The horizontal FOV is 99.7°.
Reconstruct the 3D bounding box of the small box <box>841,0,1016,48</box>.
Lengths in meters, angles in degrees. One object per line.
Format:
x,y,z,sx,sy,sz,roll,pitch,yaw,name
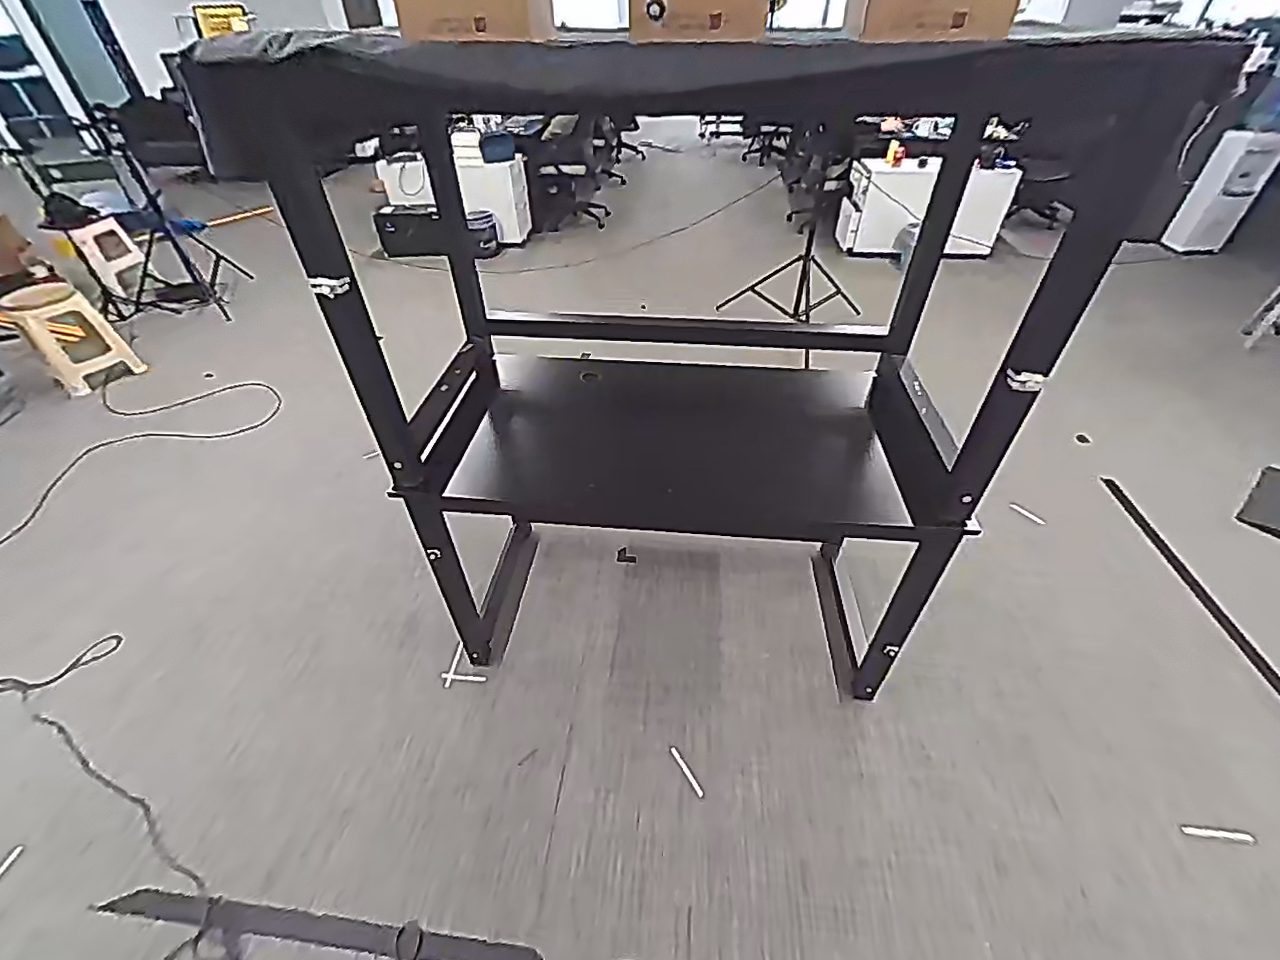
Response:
0.348,-0.626,0.643,0.168,0.176,0.179,3,41,7,small box

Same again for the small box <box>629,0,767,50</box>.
0.075,-0.642,0.666,0.168,0.176,0.179,4,39,5,small box
